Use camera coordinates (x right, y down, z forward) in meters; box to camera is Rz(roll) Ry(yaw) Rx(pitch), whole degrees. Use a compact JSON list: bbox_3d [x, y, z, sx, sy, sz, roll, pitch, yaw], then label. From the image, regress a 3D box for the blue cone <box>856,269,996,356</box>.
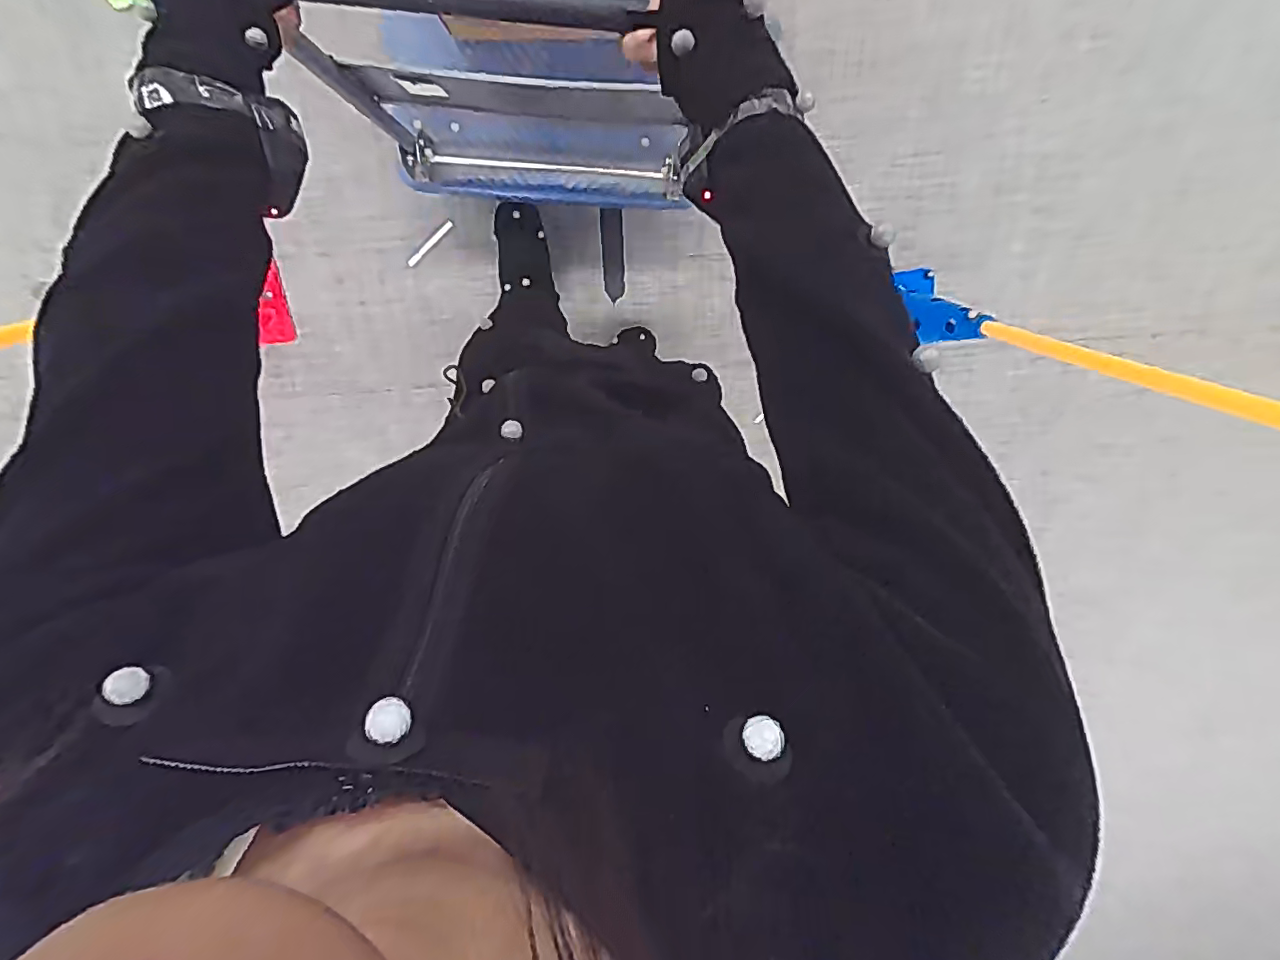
[{"bbox_3d":[0.636,-0.354,1.179,0.193,0.380,0.192,-8,110,-1],"label":"blue cone"}]
